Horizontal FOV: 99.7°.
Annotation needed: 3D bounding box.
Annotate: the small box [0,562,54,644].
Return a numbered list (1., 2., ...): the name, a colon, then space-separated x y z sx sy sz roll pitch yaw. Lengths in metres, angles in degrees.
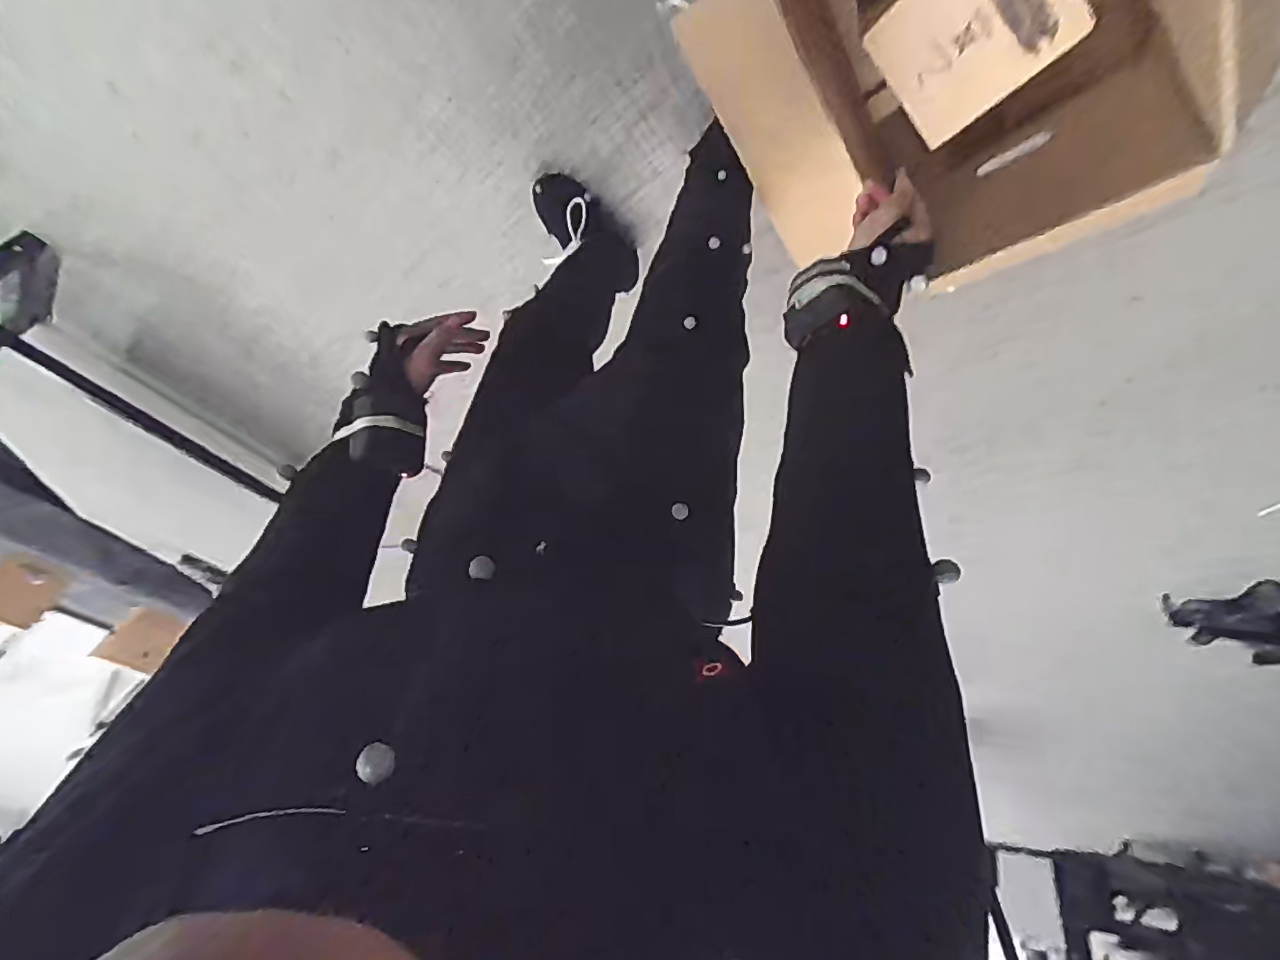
1. small box: -1.725 0.322 1.432 0.179 0.176 0.168 -16 134 36

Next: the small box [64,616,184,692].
1. small box: -1.537 0.517 1.617 0.168 0.176 0.179 -12 136 33
